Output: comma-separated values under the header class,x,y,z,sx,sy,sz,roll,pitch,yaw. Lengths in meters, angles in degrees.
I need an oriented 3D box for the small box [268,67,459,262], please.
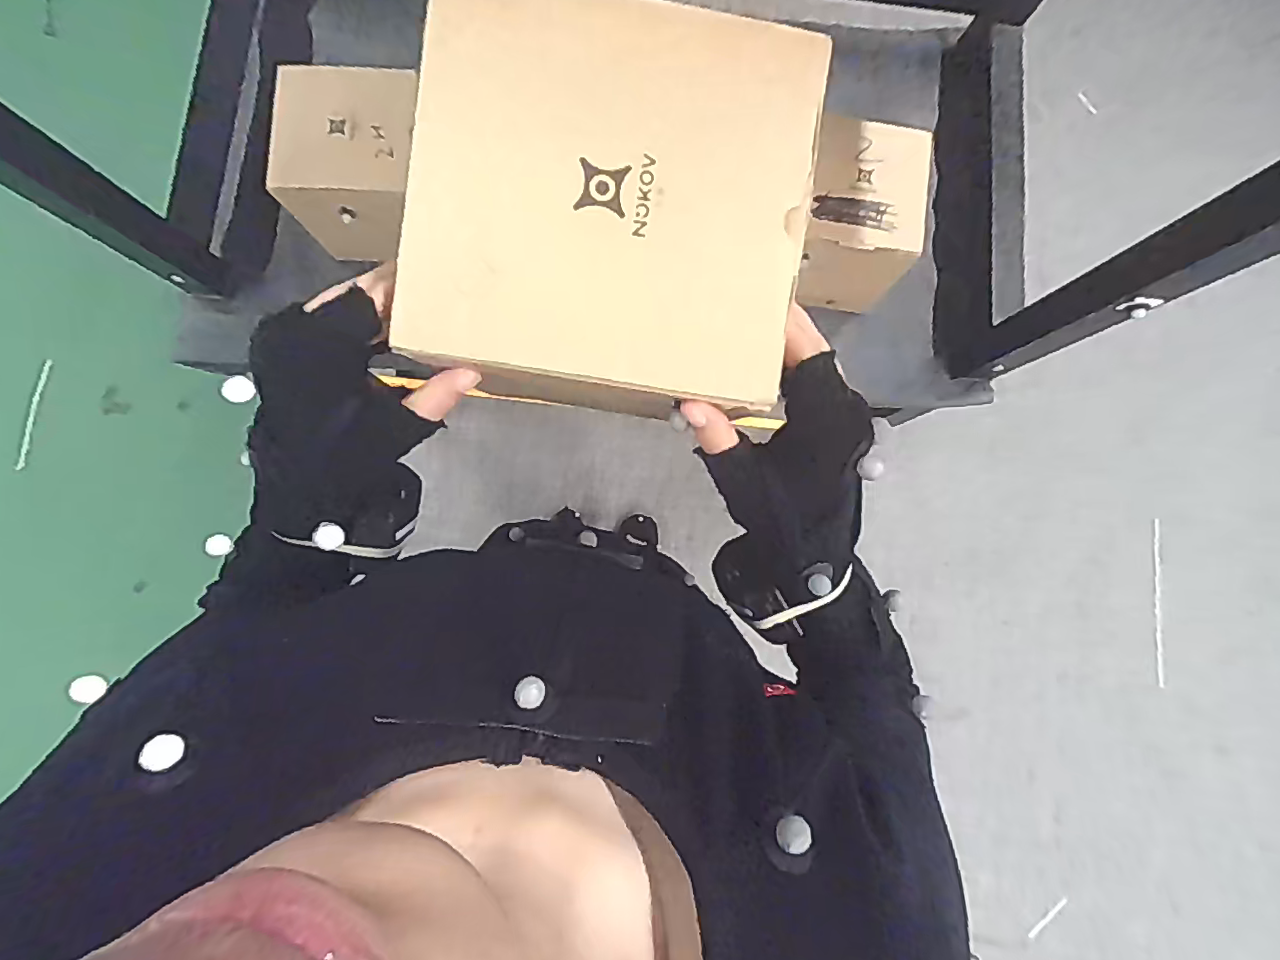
class,x,y,z,sx,sy,sz,roll,pitch,yaw
small box,-0.365,-0.419,0.743,0.179,0.176,0.168,1,84,-3
